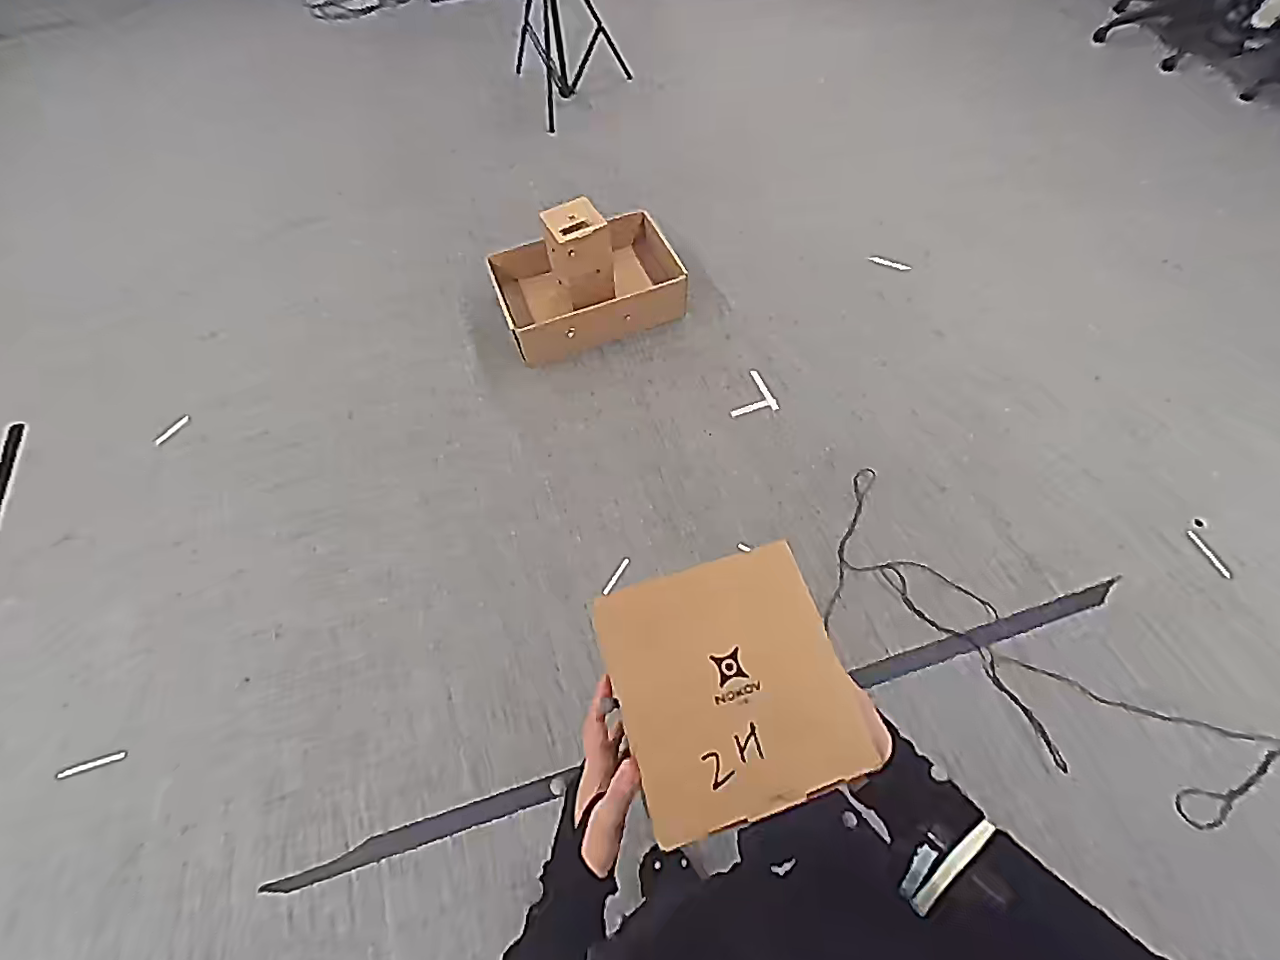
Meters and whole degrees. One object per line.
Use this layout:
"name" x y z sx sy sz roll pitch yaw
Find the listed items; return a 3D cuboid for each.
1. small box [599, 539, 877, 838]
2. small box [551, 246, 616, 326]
"small box" 0.062 0.175 0.474 0.168 0.176 0.179 -15 68 -10
"small box" -0.195 -0.677 1.894 0.168 0.176 0.179 -25 64 -10
